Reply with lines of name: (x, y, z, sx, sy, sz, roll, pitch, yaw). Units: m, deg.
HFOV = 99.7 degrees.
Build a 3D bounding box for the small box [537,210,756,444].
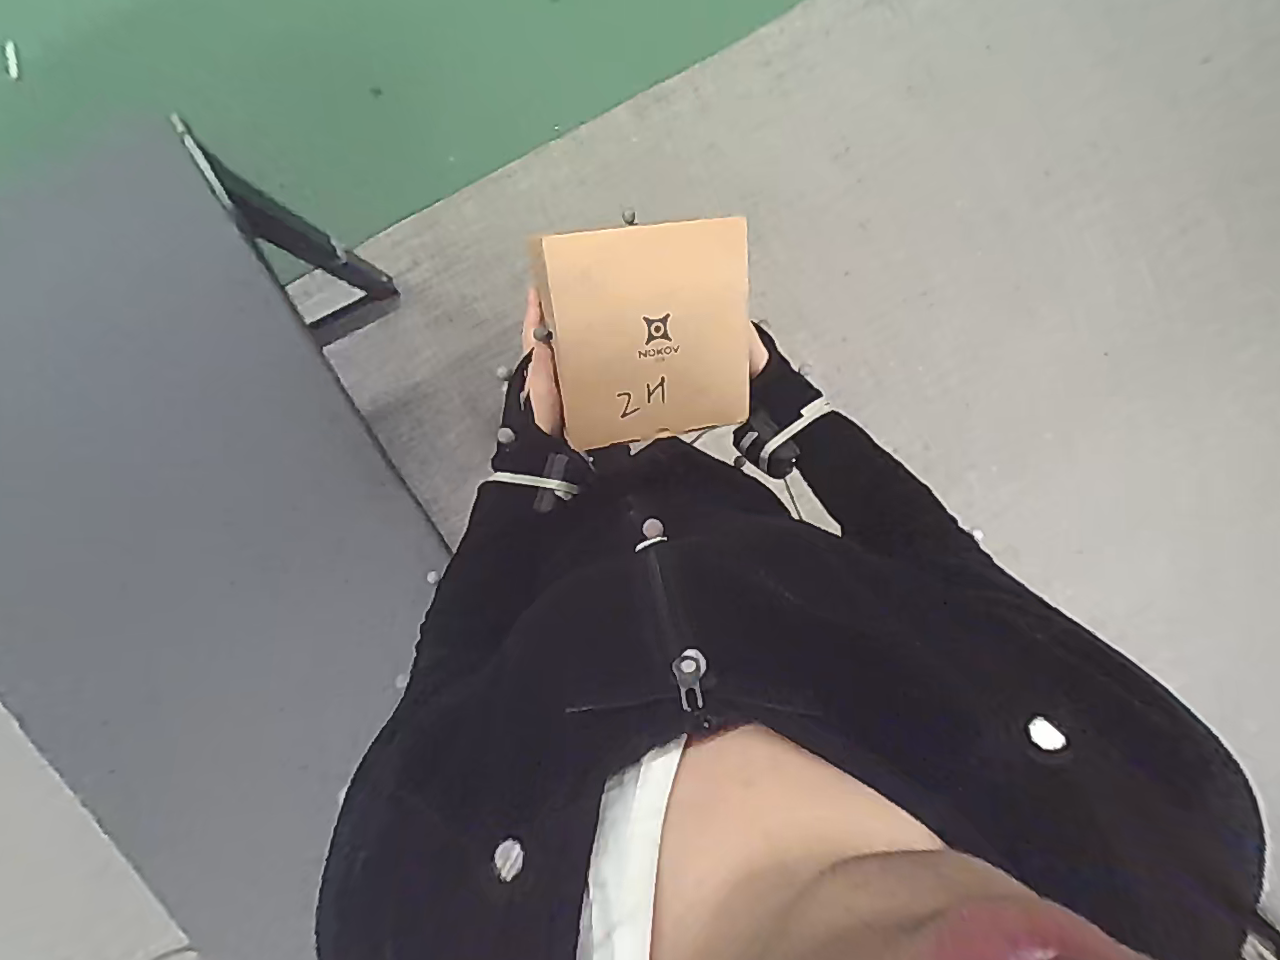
small box: (-0.002, -0.151, 0.516, 0.168, 0.176, 0.179, -9, 115, -11)
